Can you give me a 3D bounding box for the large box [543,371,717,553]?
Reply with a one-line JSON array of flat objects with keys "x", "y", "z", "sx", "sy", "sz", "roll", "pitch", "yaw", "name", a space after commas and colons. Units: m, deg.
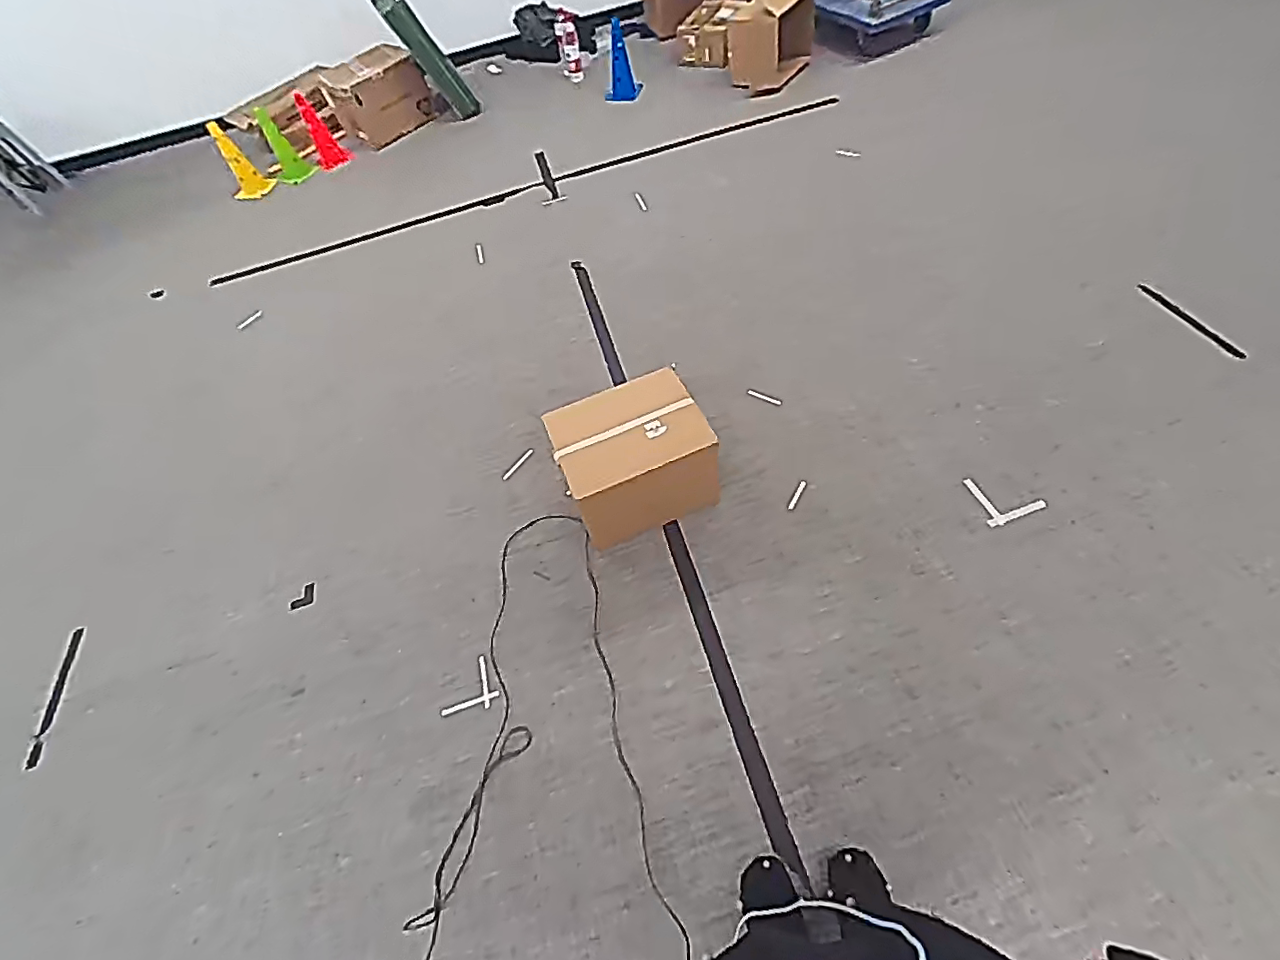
[{"x": -0.020, "y": -0.047, "z": 1.582, "sx": 0.408, "sy": 0.320, "sz": 0.320, "roll": -22, "pitch": 57, "yaw": -7, "name": "large box"}]
